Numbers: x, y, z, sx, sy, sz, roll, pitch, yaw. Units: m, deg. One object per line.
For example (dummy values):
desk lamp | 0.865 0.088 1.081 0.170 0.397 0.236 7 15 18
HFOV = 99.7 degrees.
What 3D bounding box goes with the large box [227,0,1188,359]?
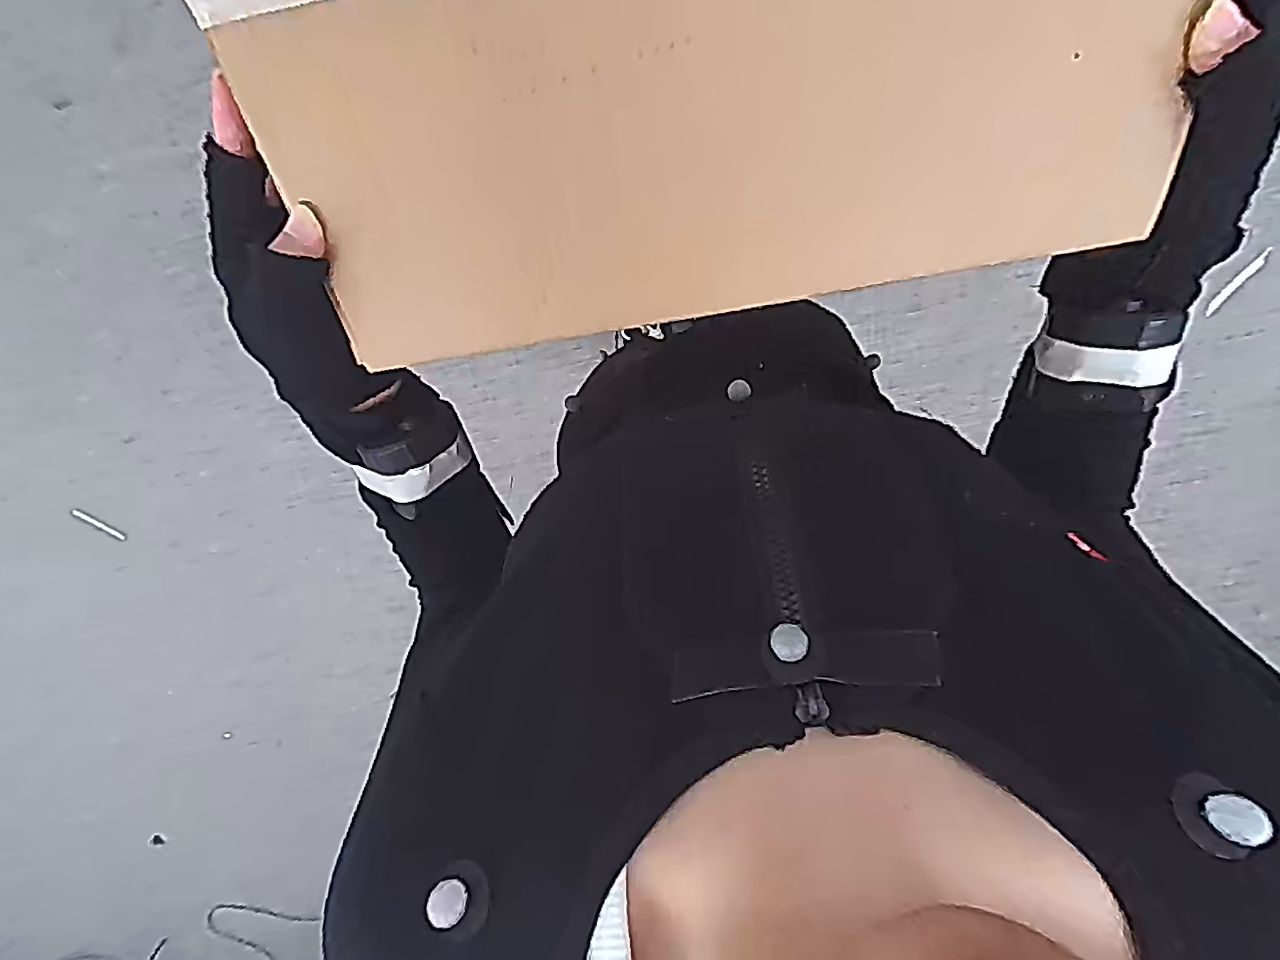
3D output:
large box | 0.019 -0.304 0.335 0.408 0.320 0.320 -9 123 4
